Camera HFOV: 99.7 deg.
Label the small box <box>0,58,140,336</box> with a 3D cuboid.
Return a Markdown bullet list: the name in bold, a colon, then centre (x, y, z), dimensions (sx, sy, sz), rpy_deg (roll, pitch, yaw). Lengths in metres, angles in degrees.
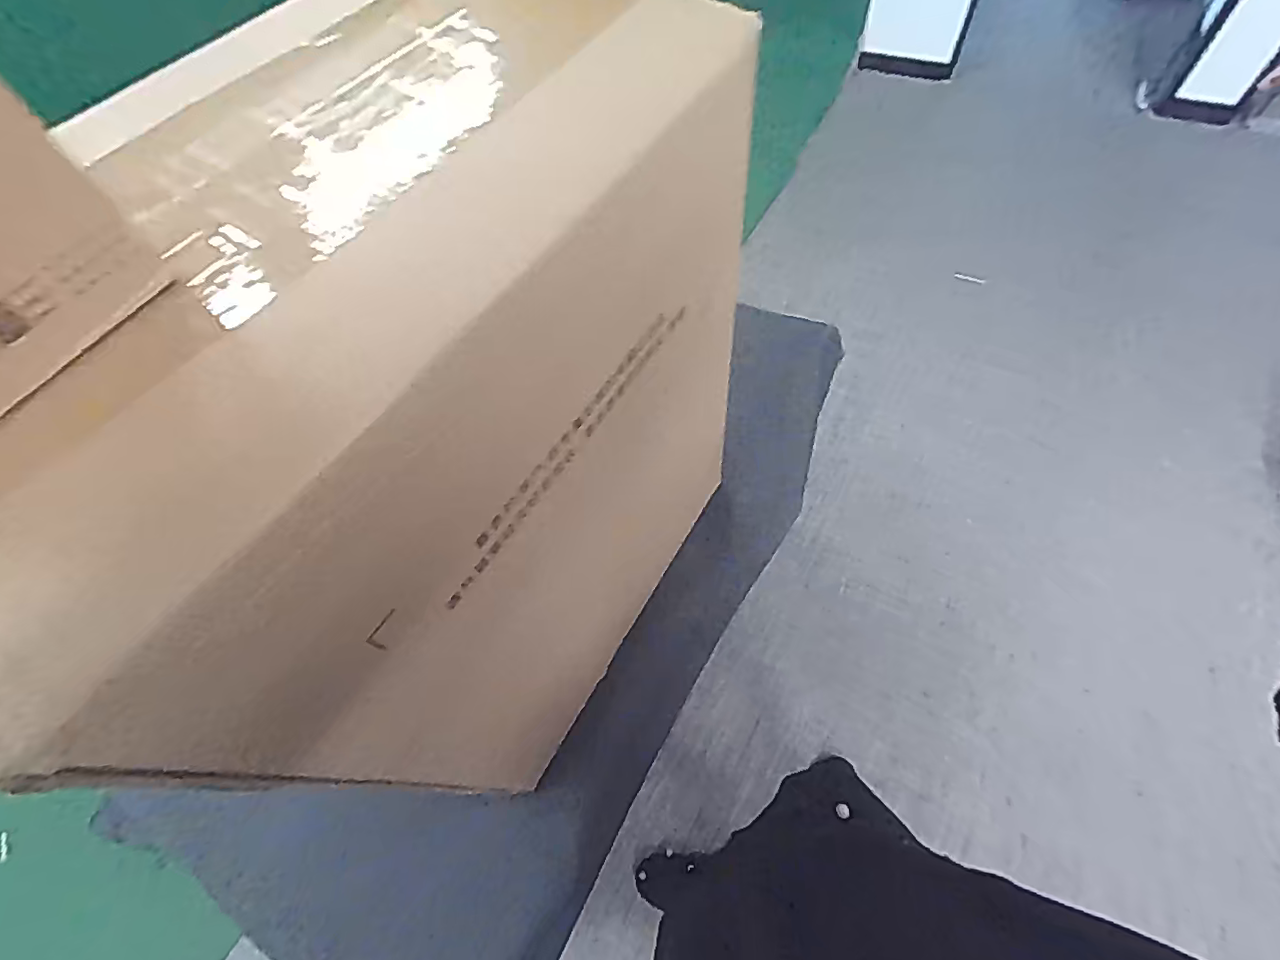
- **small box**: centre (-0.316, -0.118, 0.148), dimensions (0.179, 0.176, 0.168), rpy_deg (26, 64, 13)
